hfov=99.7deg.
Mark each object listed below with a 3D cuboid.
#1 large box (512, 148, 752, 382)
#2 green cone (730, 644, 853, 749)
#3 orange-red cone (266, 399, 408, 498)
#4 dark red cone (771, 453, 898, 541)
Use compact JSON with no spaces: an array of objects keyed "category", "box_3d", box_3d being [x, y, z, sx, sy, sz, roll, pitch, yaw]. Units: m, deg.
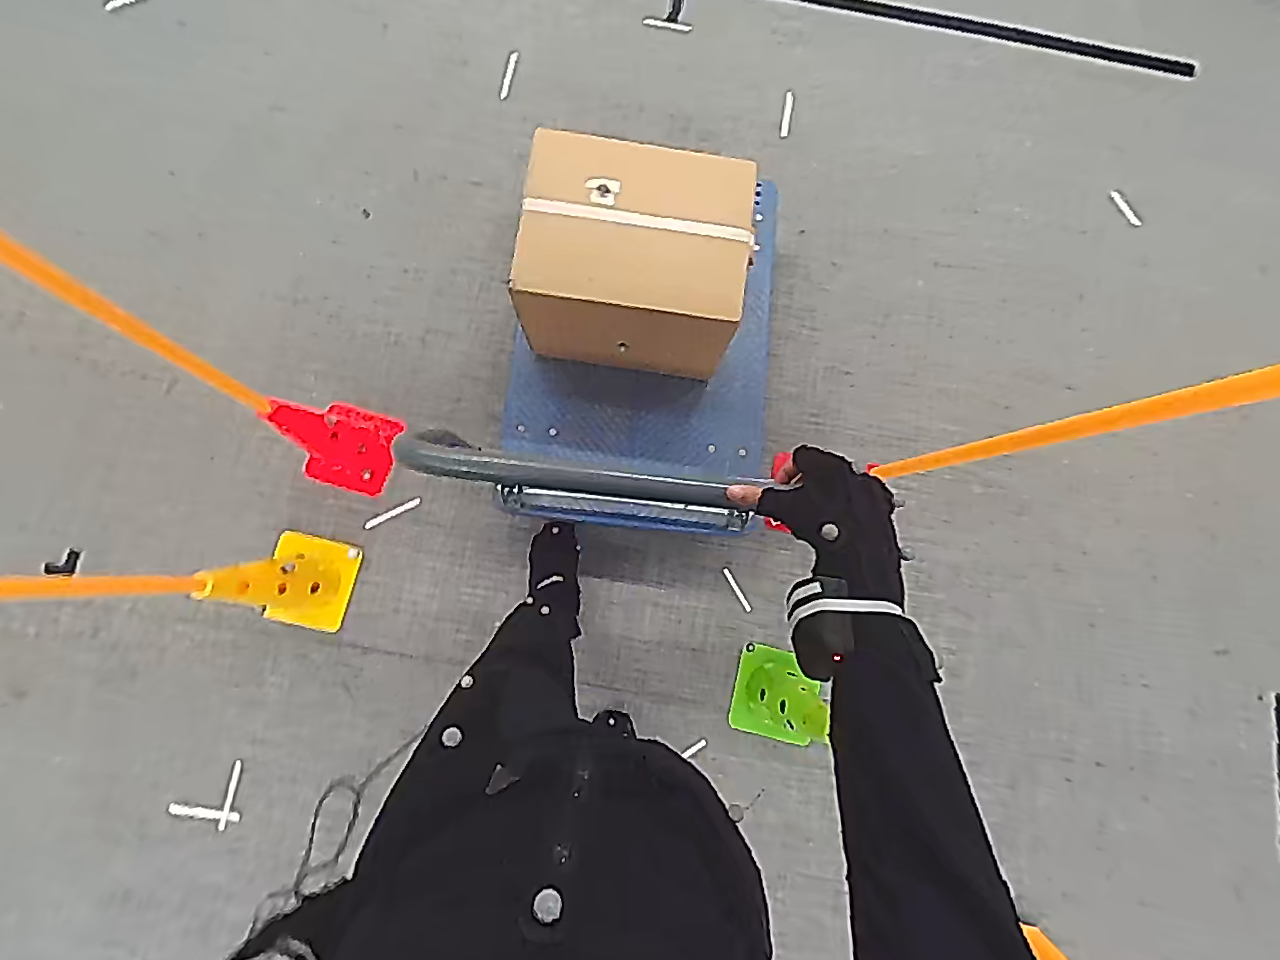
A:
[{"category":"large box","box_3d":[-0.011,-0.411,1.110,0.408,0.320,0.320,8,81,-1]},{"category":"green cone","box_3d":[0.335,0.481,1.114,0.202,0.368,0.200,14,80,-1]},{"category":"orange-red cone","box_3d":[-0.688,-0.104,1.174,0.198,0.360,0.199,18,78,0]},{"category":"dark red cone","box_3d":[0.441,0.012,1.183,0.201,0.394,0.202,11,80,-3]}]
